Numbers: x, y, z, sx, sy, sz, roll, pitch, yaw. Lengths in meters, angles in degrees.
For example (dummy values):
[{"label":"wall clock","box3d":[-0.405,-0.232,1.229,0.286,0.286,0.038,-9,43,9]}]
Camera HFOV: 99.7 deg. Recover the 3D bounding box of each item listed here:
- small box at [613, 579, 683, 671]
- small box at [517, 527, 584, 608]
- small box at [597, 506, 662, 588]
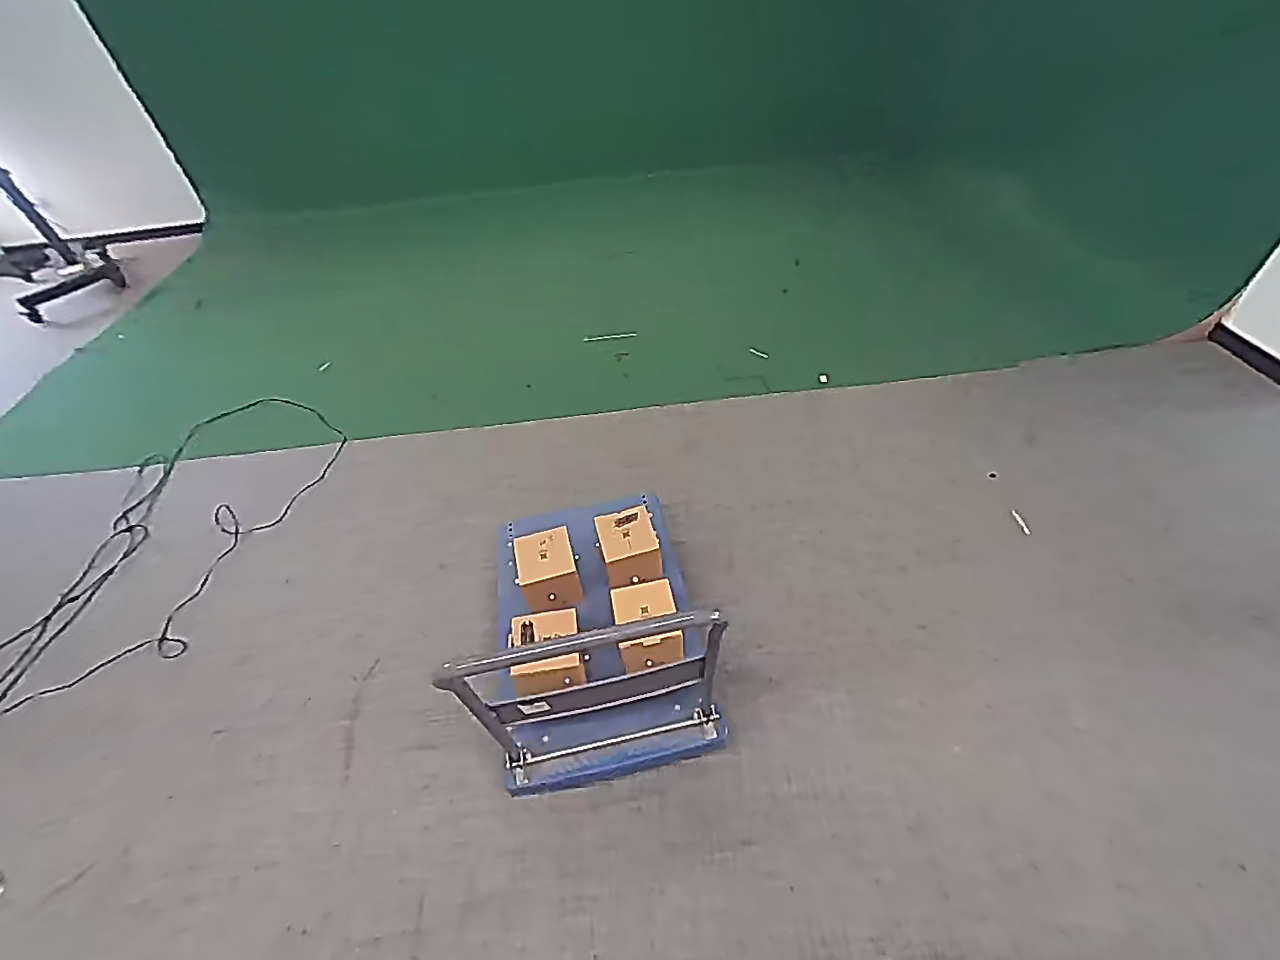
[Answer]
[{"label":"small box","box3d":[0.022,0.407,1.515,0.168,0.176,0.179,-11,47,-4]},{"label":"small box","box3d":[-0.274,0.277,1.667,0.168,0.176,0.179,-13,47,-7]},{"label":"small box","box3d":[-0.031,0.214,1.698,0.168,0.176,0.179,-14,48,-6]}]
